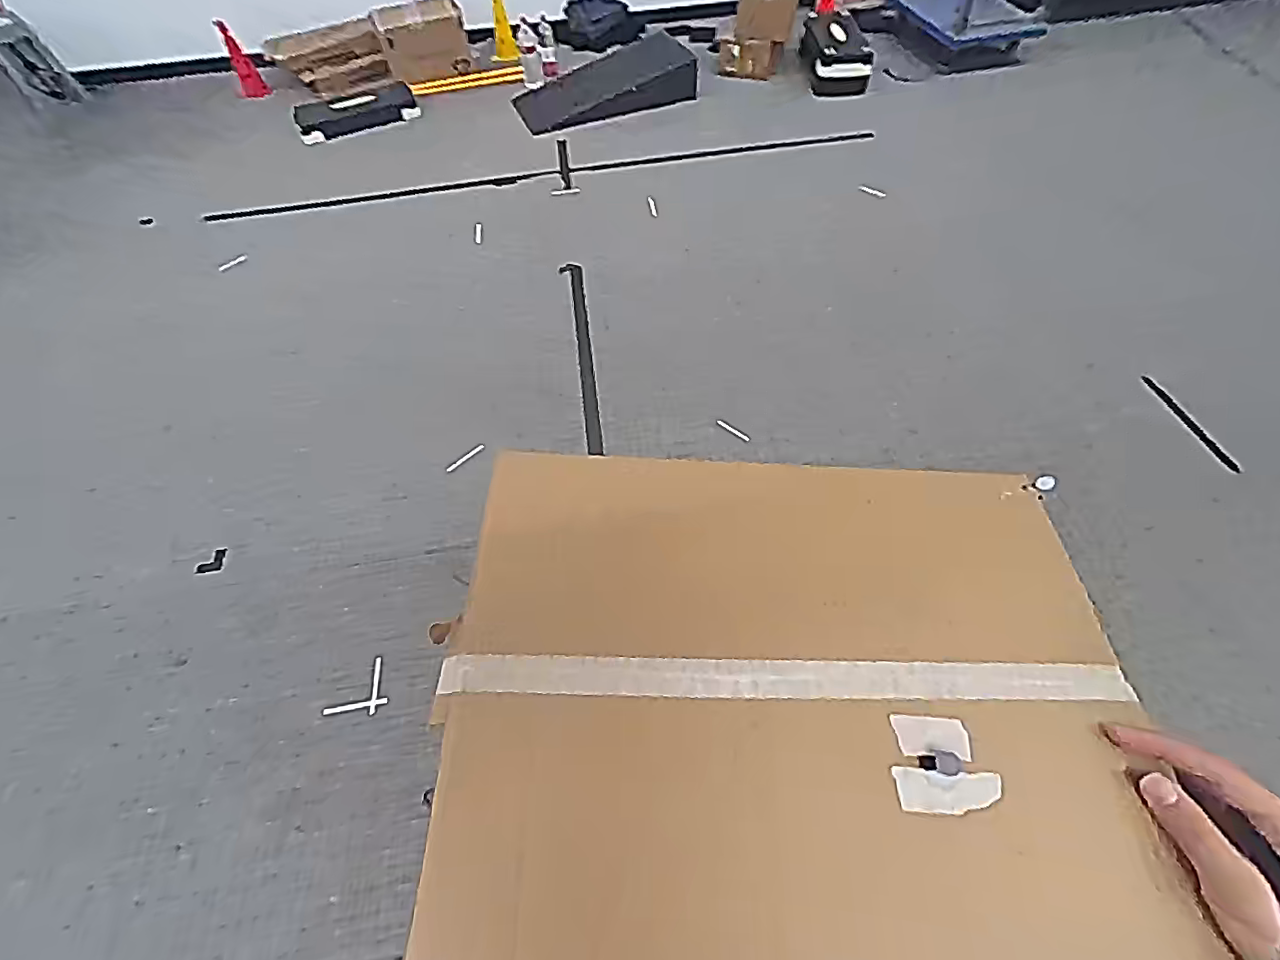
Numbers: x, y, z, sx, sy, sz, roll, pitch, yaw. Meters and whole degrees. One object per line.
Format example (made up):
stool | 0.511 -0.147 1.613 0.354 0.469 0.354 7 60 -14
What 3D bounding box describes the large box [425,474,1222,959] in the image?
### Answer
large box | 0.080 0.210 0.453 0.408 0.320 0.320 2 57 -5
